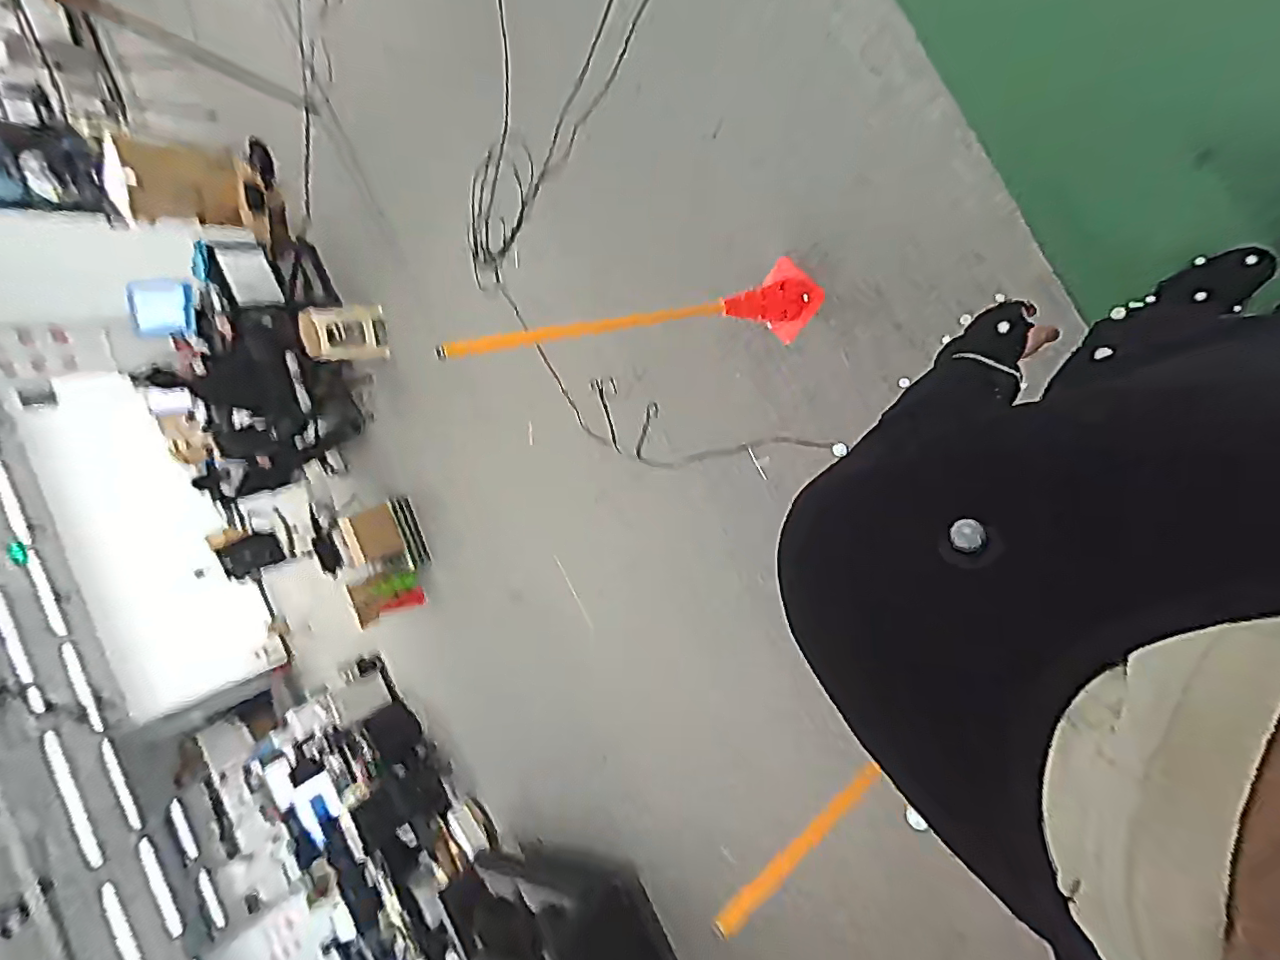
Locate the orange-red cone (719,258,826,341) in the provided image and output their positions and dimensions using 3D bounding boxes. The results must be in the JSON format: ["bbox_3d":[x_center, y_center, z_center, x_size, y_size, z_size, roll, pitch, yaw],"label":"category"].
[{"bbox_3d":[0.353,-0.528,1.603,0.199,0.360,0.198,54,135,17],"label":"orange-red cone"}]
